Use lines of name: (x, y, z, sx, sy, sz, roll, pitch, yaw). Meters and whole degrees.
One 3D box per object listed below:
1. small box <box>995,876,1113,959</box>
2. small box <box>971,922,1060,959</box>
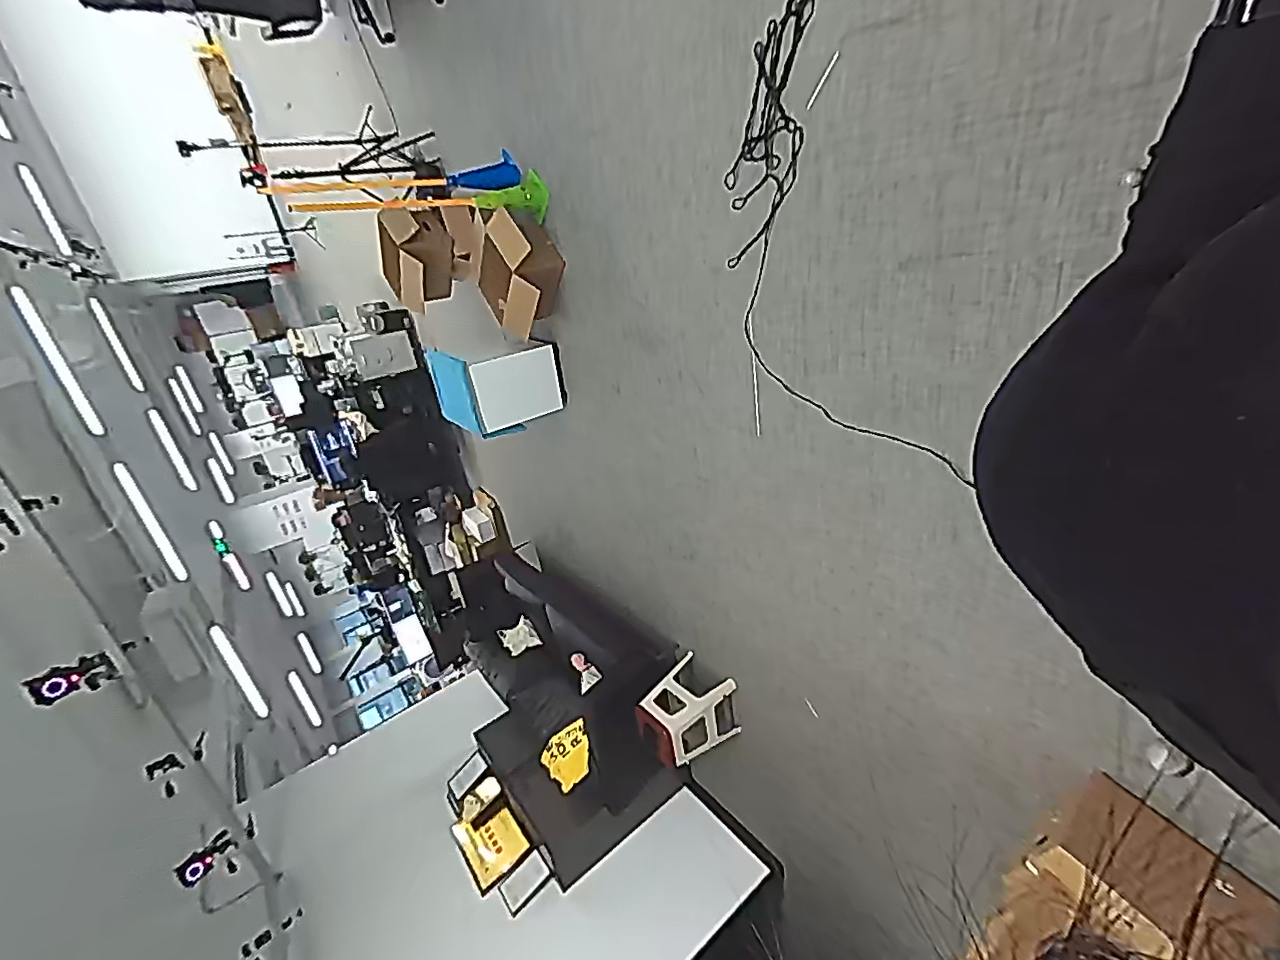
small box: (1.067, 1.179, 1.398, 0.168, 0.176, 0.179, 40, 142, 36)
small box: (0.934, 1.233, 1.323, 0.179, 0.176, 0.168, 41, 143, 35)
